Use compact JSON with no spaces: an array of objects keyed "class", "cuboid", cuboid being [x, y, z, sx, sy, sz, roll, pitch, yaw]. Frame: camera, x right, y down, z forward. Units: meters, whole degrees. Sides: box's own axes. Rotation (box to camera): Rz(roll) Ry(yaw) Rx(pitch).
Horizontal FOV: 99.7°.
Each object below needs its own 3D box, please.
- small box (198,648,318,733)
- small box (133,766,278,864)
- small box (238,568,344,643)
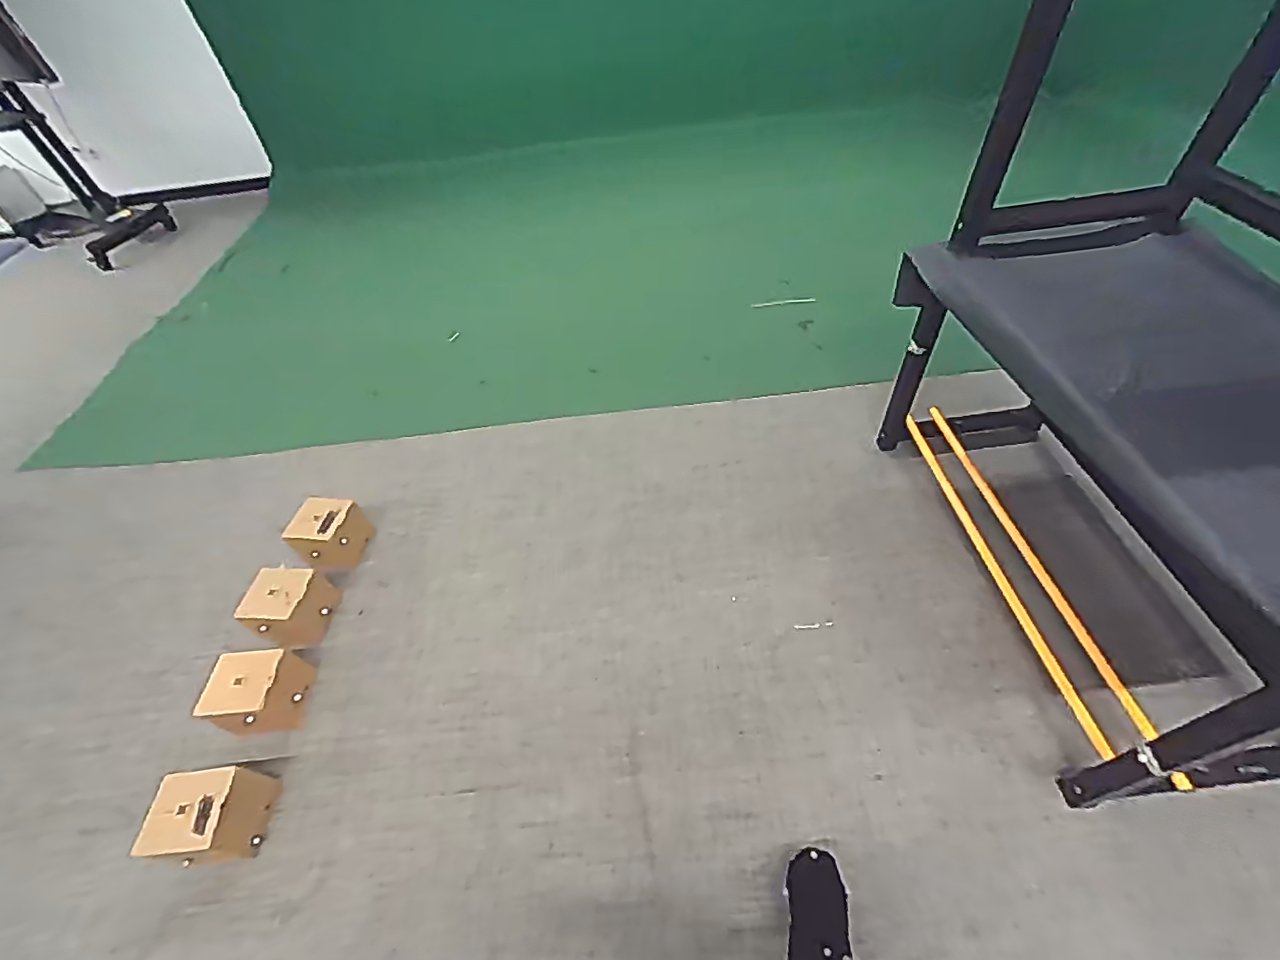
[{"class":"small box","cuboid":[-1.023,0.574,1.466,0.179,0.176,0.168,-5,49,1]},{"class":"small box","cuboid":[-1.003,0.789,1.271,0.179,0.176,0.168,-7,48,1]},{"class":"small box","cuboid":[-1.046,0.382,1.635,0.179,0.176,0.168,1,49,6]}]
